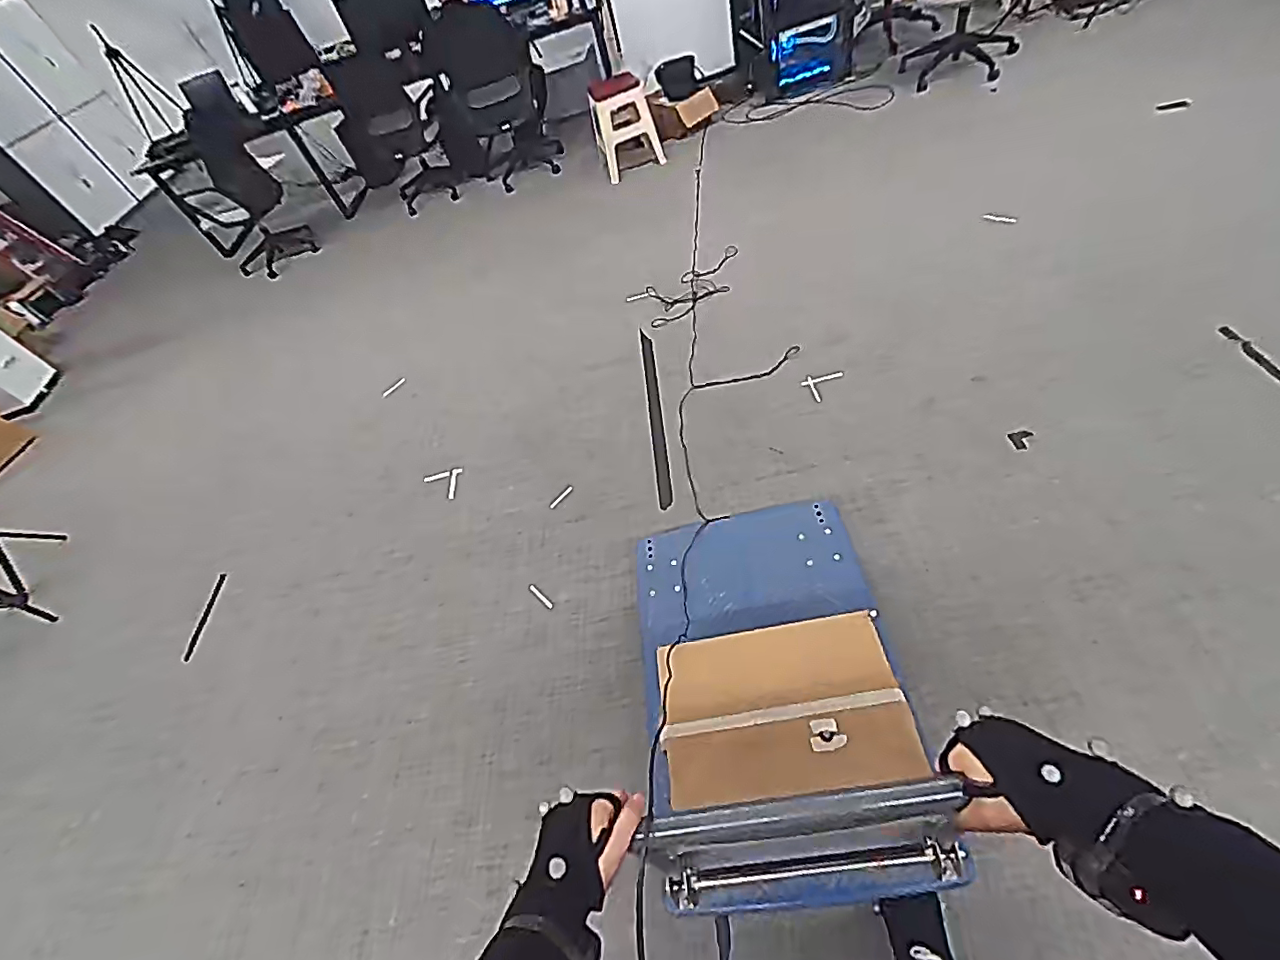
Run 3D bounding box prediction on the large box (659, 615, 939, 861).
[{"bbox_3d":[0.273,0.499,1.027,0.408,0.320,0.320,-12,49,7],"label":"large box"}]
